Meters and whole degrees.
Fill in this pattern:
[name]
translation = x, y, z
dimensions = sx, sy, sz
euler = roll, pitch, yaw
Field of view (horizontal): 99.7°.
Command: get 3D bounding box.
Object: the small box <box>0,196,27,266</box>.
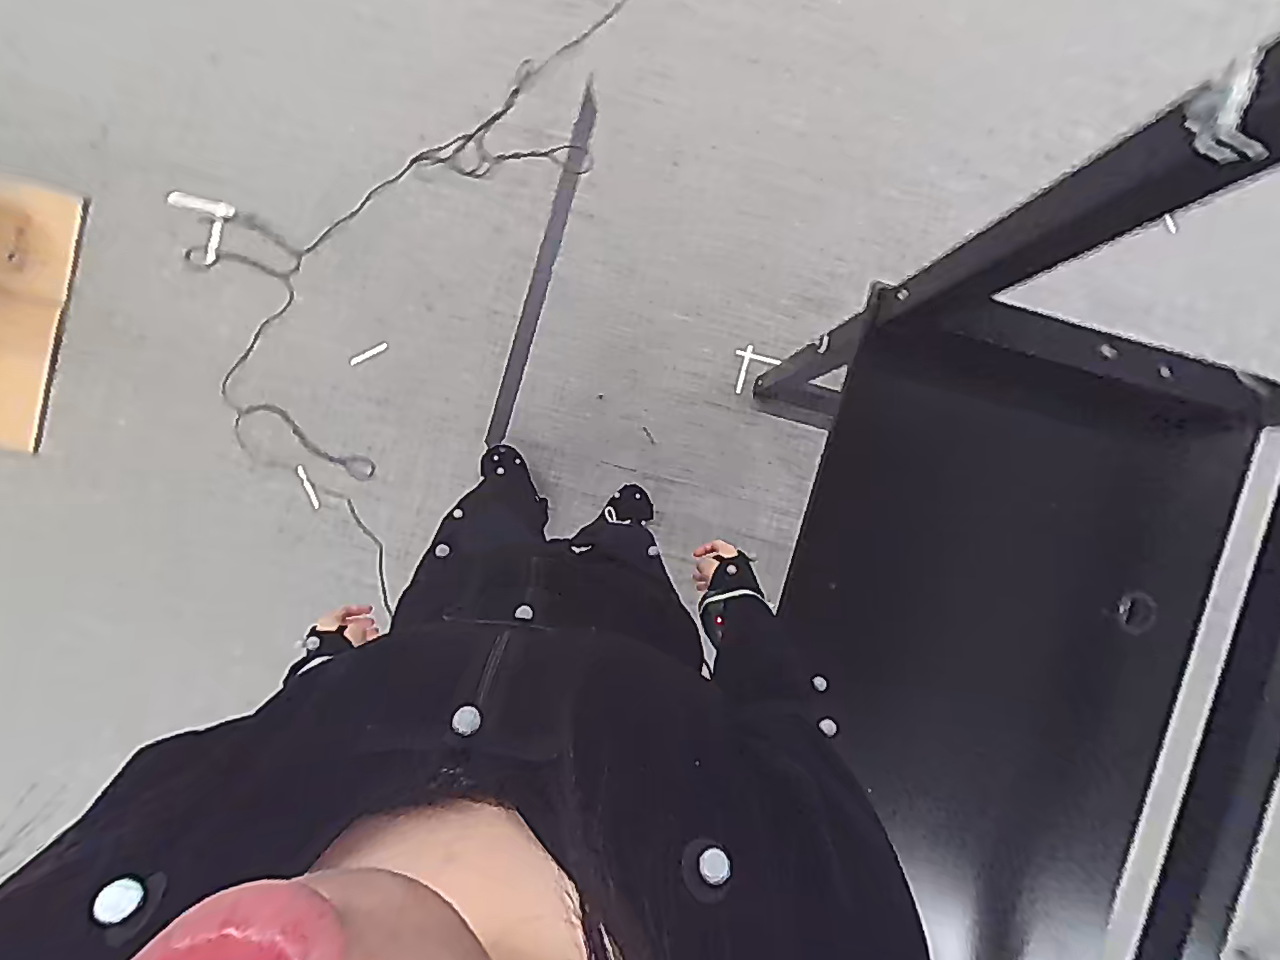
[small box]
translation = -1.678, -0.640, 1.320
dimensions = 0.179, 0.176, 0.168
euler = 9, 92, -2
